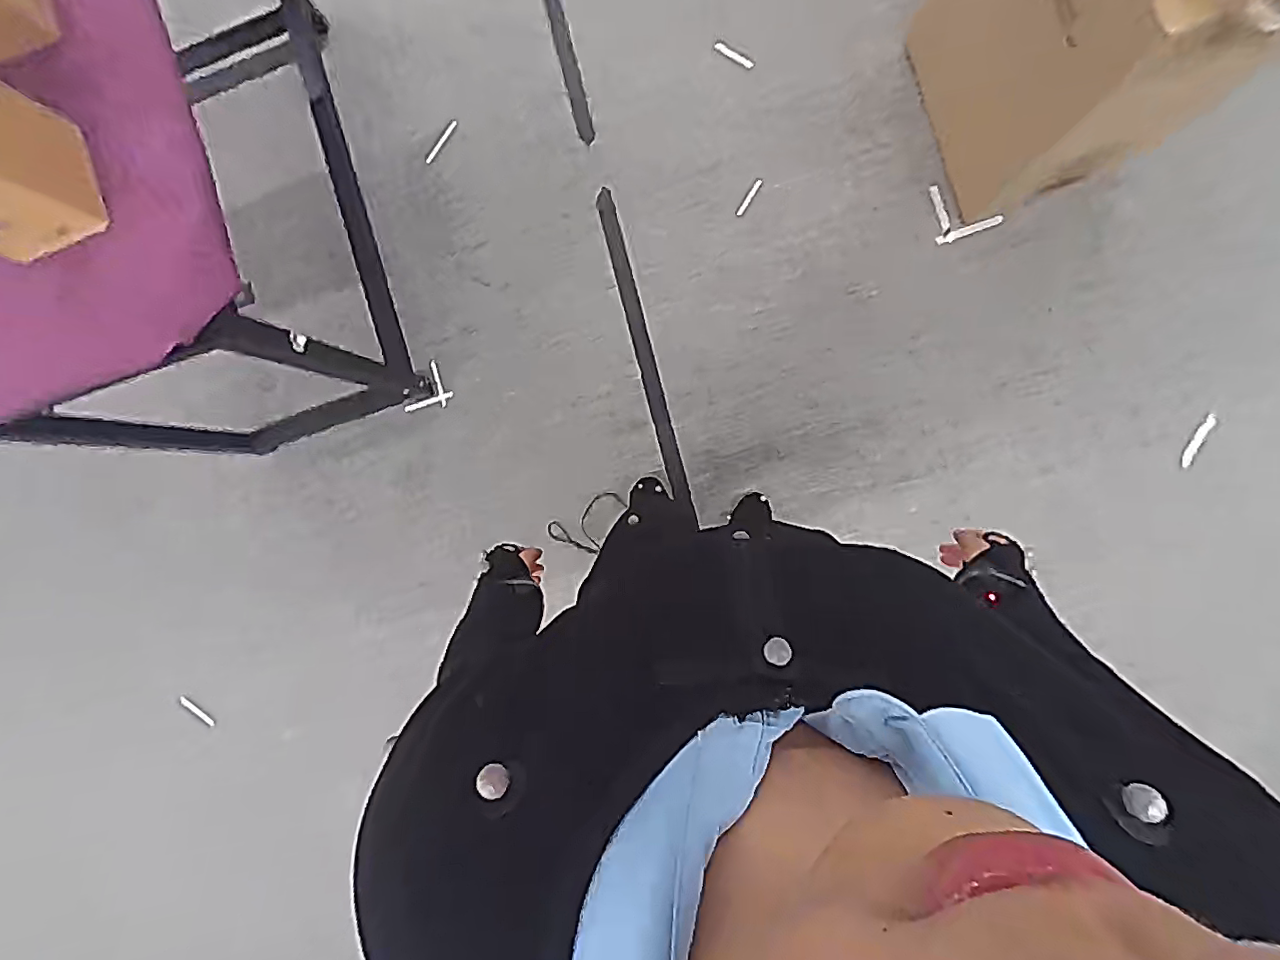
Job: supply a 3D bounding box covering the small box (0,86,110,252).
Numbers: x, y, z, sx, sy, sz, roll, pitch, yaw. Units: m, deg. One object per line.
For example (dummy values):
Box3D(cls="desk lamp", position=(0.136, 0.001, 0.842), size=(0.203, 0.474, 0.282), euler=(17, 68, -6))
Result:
Box3D(cls="small box", position=(-0.952, -0.463, 0.799), size=(0.168, 0.176, 0.179), euler=(-19, 88, 6))
